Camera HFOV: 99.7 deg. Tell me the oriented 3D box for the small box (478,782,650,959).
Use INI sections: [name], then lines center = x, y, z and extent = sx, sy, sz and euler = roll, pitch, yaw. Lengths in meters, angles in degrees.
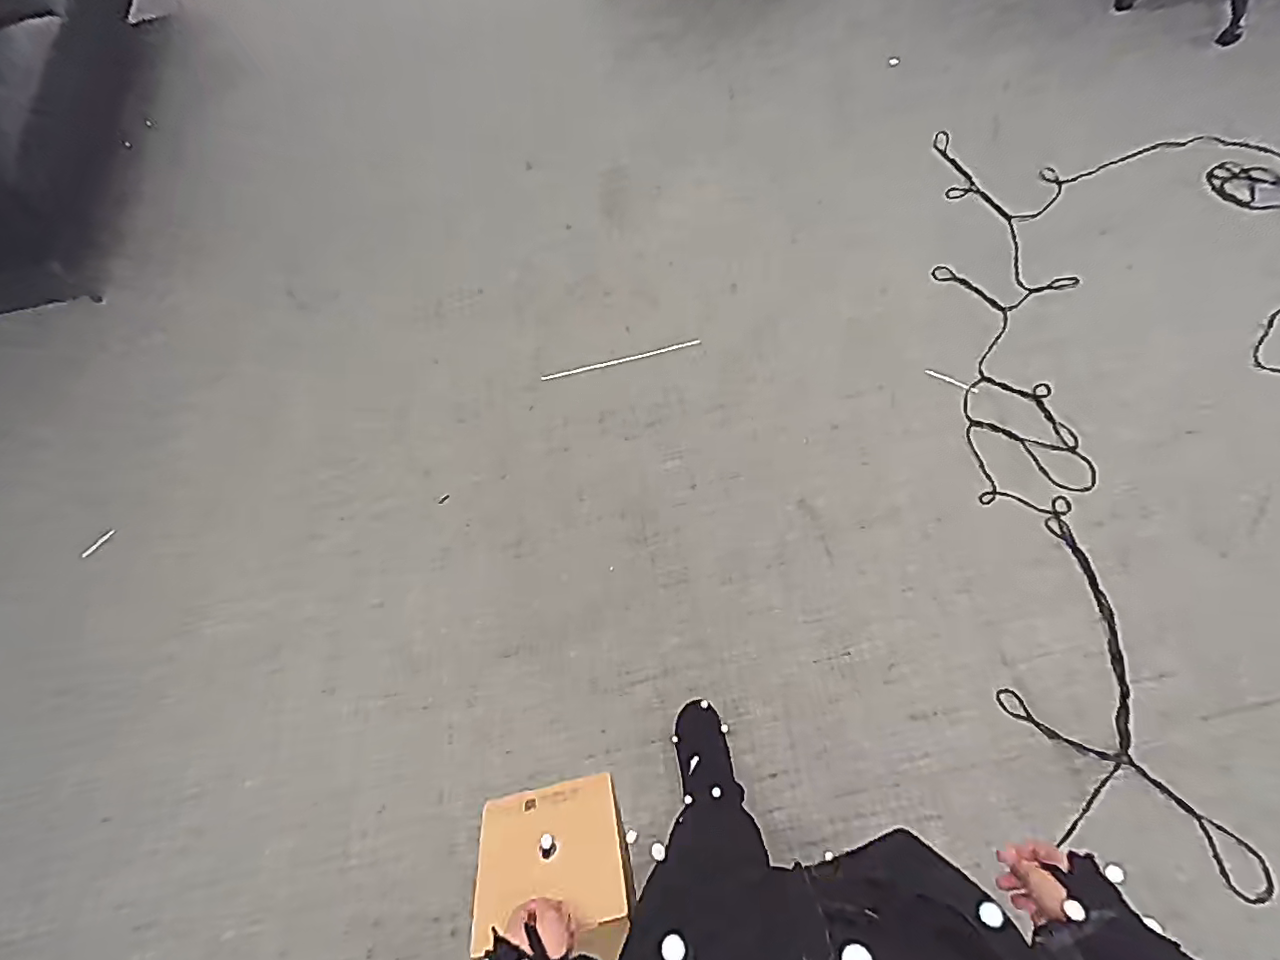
[small box]
center = -0.090, 0.499, 0.657
extent = 0.168, 0.179, 0.176
euler = -12, 27, -5
